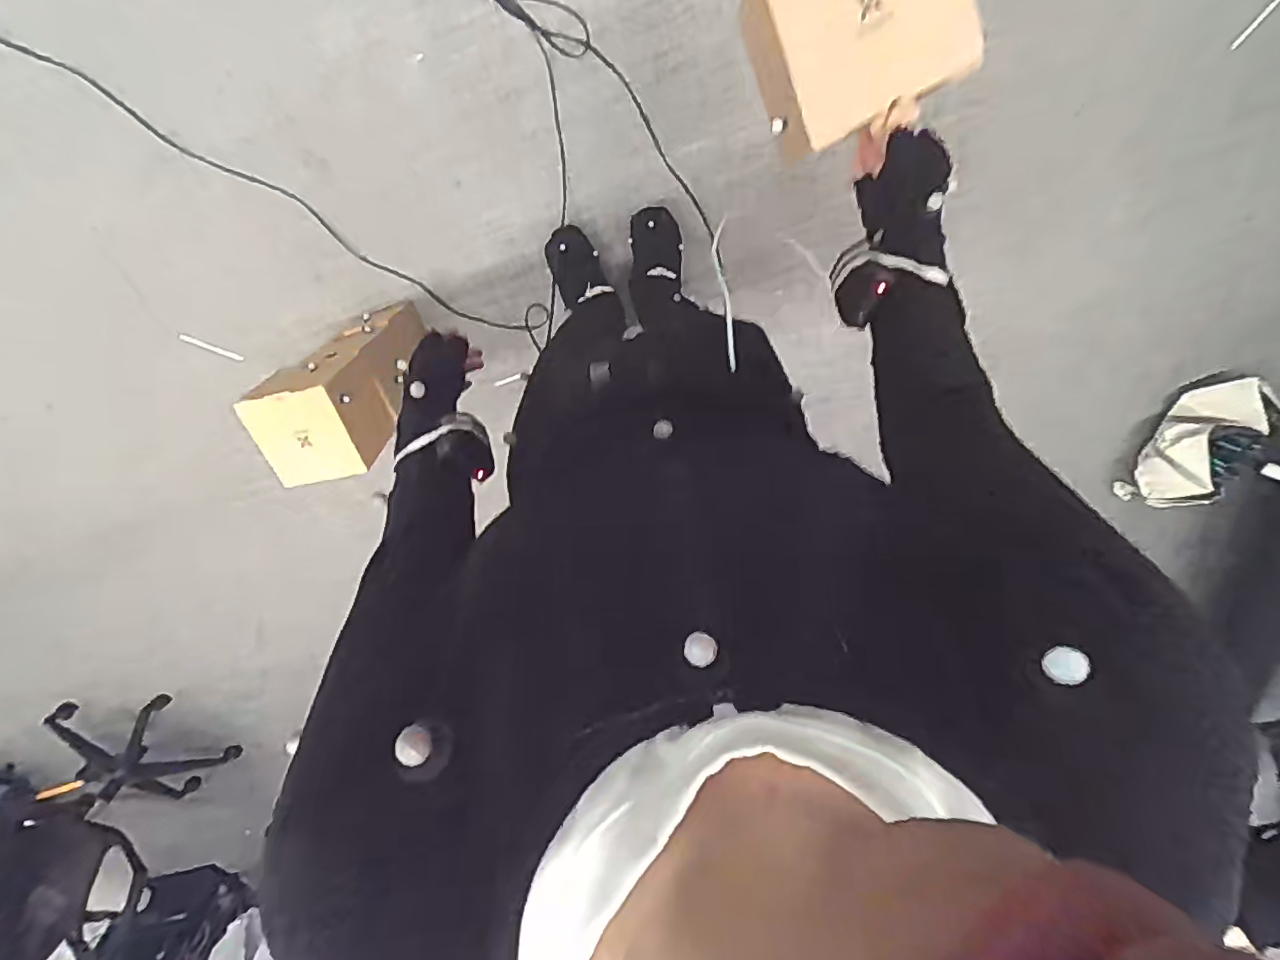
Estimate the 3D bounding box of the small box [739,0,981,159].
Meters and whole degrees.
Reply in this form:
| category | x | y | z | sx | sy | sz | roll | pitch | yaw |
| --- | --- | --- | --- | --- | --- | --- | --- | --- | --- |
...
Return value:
| category | x | y | z | sx | sy | sz | roll | pitch | yaw |
| --- | --- | --- | --- | --- | --- | --- | --- | --- | --- |
| small box | 0.212 | -0.458 | 0.557 | 0.168 | 0.176 | 0.179 | -22 | 111 | 14 |

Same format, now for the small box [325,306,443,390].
| category | x | y | z | sx | sy | sz | roll | pitch | yaw |
| --- | --- | --- | --- | --- | --- | --- | --- | --- | --- |
| small box | -0.603 | -0.303 | 1.297 | 0.168 | 0.176 | 0.179 | -15 | 121 | 6 |

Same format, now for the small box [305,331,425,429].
| category | x | y | z | sx | sy | sz | roll | pitch | yaw |
| --- | --- | --- | --- | --- | --- | --- | --- | --- | --- |
| small box | -0.595 | -0.207 | 1.164 | 0.168 | 0.176 | 0.179 | -14 | 123 | 6 |

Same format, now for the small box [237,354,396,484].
| category | x | y | z | sx | sy | sz | roll | pitch | yaw |
| --- | --- | --- | --- | --- | --- | --- | --- | --- | --- |
| small box | -0.596 | -0.118 | 1.027 | 0.168 | 0.176 | 0.179 | -10 | 122 | 3 |
